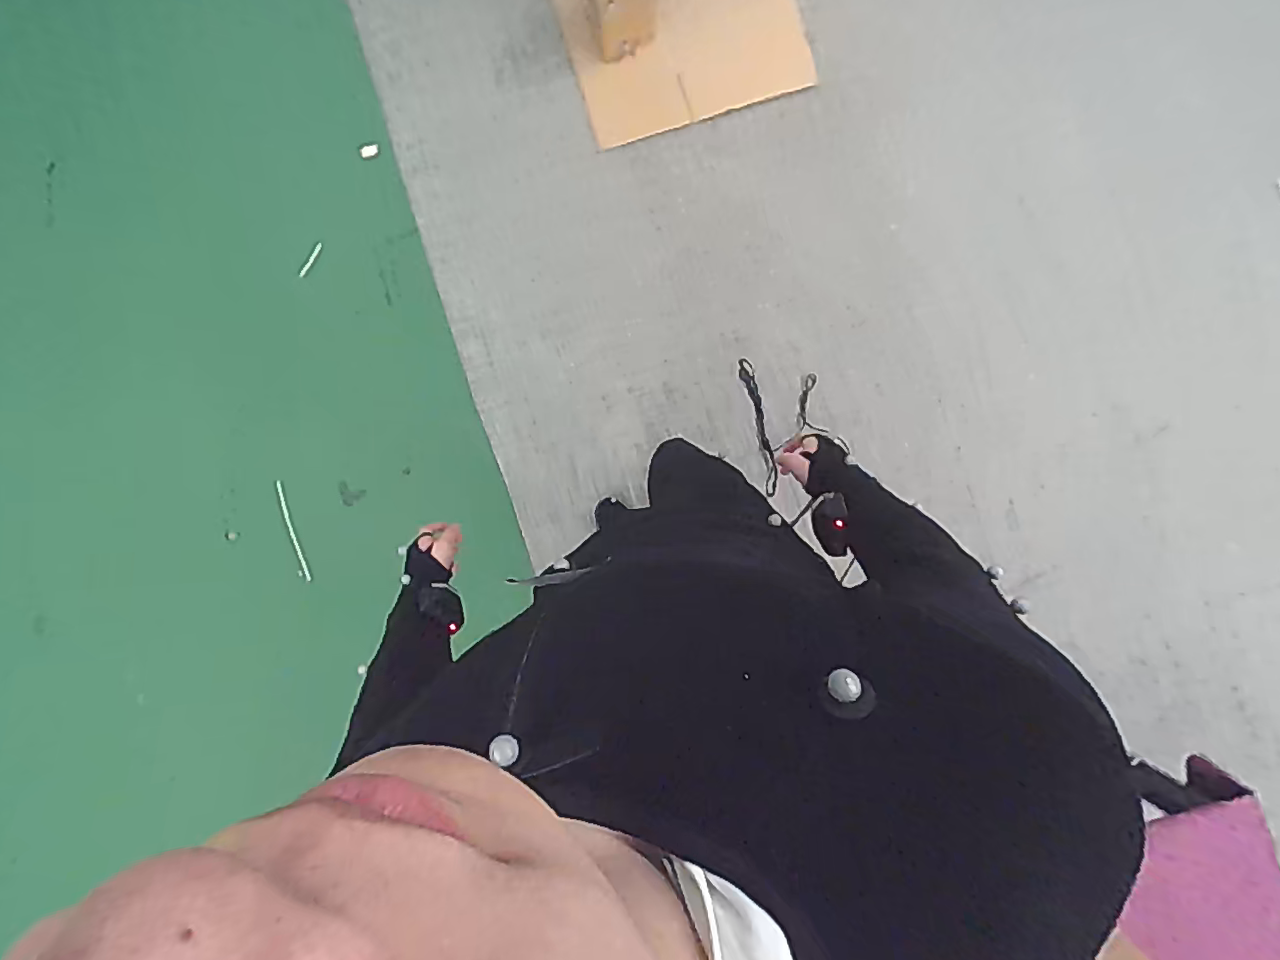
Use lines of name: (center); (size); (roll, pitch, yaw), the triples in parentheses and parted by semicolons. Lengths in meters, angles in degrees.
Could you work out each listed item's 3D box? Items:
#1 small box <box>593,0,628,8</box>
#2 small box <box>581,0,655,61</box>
small box: (-0.068, -1.351, 1.364); (0.168, 0.176, 0.179); (-22, 89, 1)
small box: (-0.067, -1.351, 1.528); (0.168, 0.176, 0.179); (-25, 91, 0)
